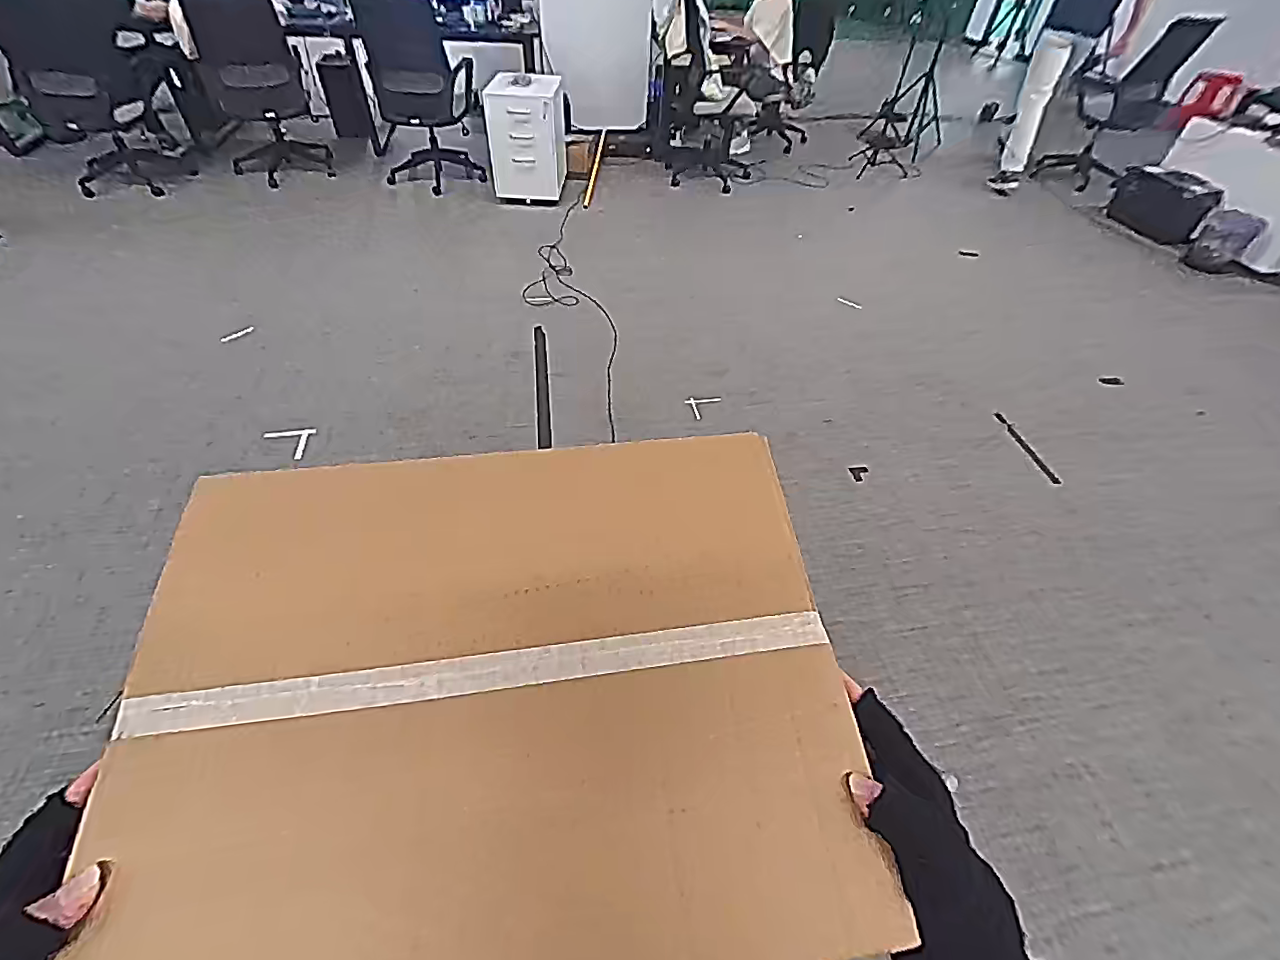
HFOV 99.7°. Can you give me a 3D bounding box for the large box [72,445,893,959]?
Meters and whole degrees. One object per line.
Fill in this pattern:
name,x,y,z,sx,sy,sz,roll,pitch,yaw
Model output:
large box,-0.091,0.198,0.454,0.408,0.320,0.320,-6,59,-6
